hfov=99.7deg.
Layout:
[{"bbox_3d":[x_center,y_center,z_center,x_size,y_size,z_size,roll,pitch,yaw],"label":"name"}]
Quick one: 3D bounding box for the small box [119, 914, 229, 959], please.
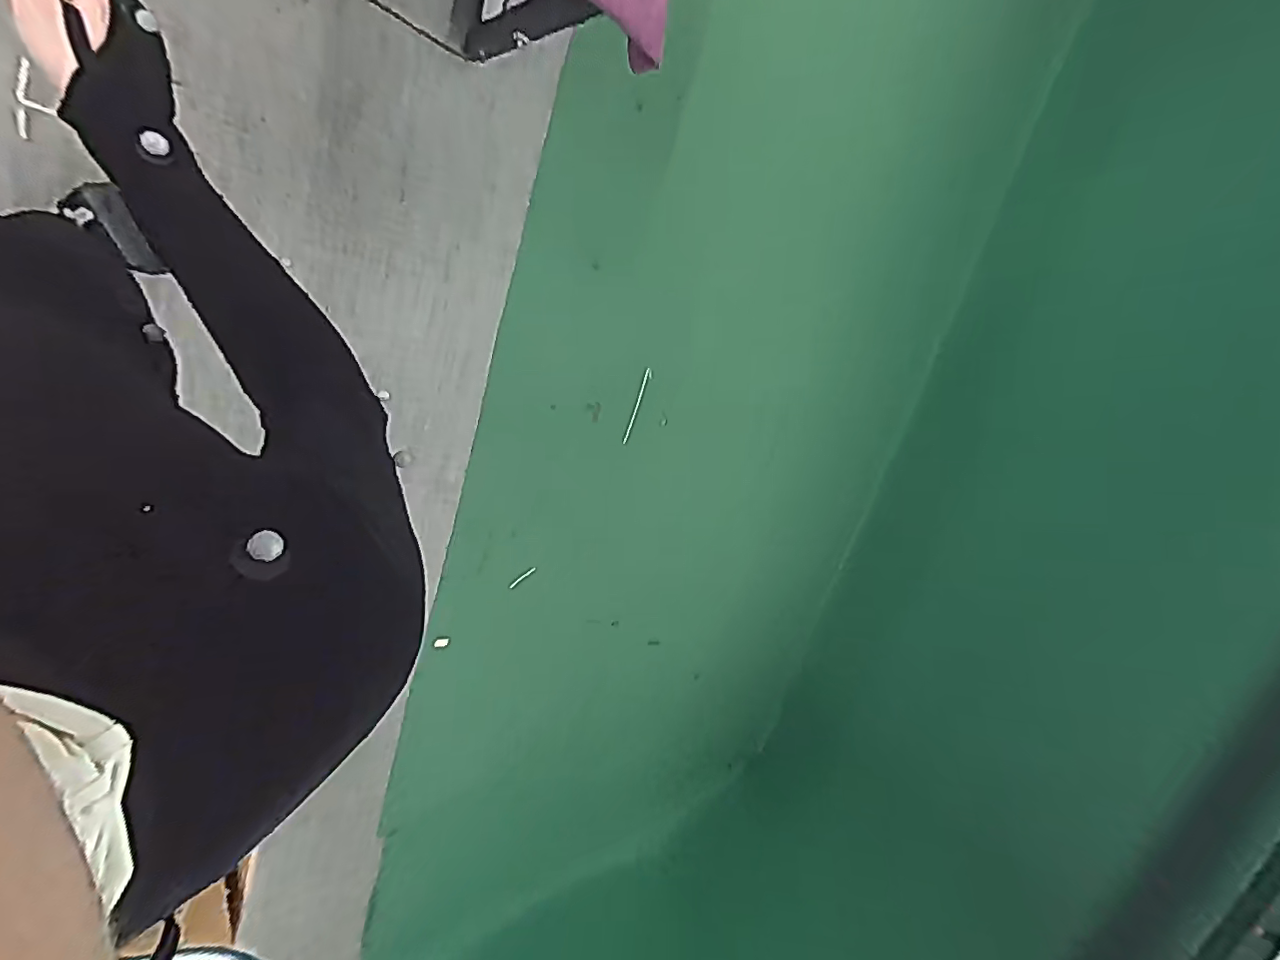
[{"bbox_3d":[-0.953,1.043,1.090,0.179,0.176,0.168,7,106,-43],"label":"small box"}]
